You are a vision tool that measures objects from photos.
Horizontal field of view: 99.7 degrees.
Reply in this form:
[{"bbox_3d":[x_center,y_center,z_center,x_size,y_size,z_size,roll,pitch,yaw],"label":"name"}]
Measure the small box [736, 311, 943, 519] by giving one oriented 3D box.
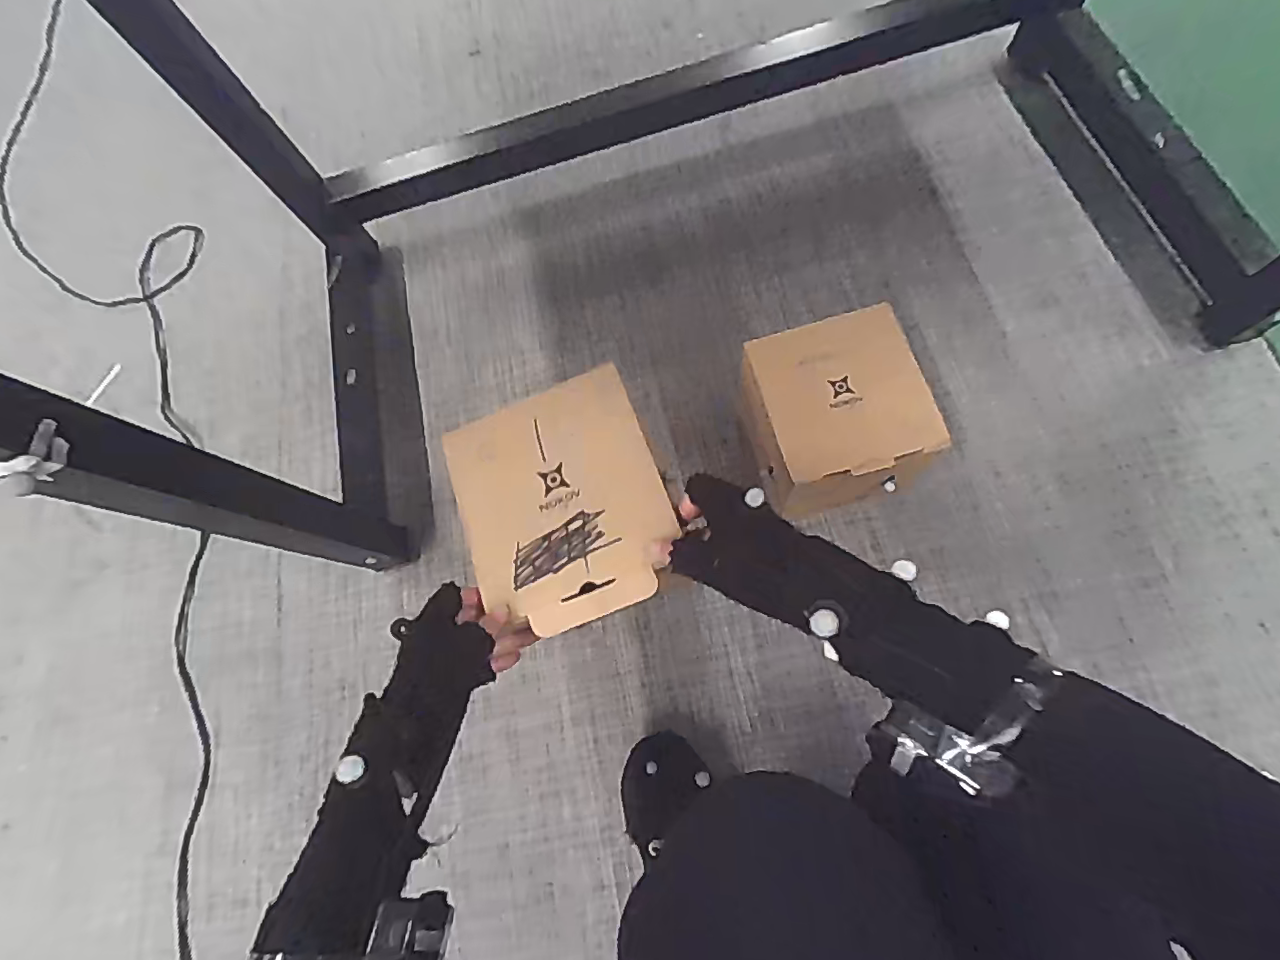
[{"bbox_3d":[0.219,-0.063,0.647,0.168,0.176,0.179,-16,69,3],"label":"small box"}]
